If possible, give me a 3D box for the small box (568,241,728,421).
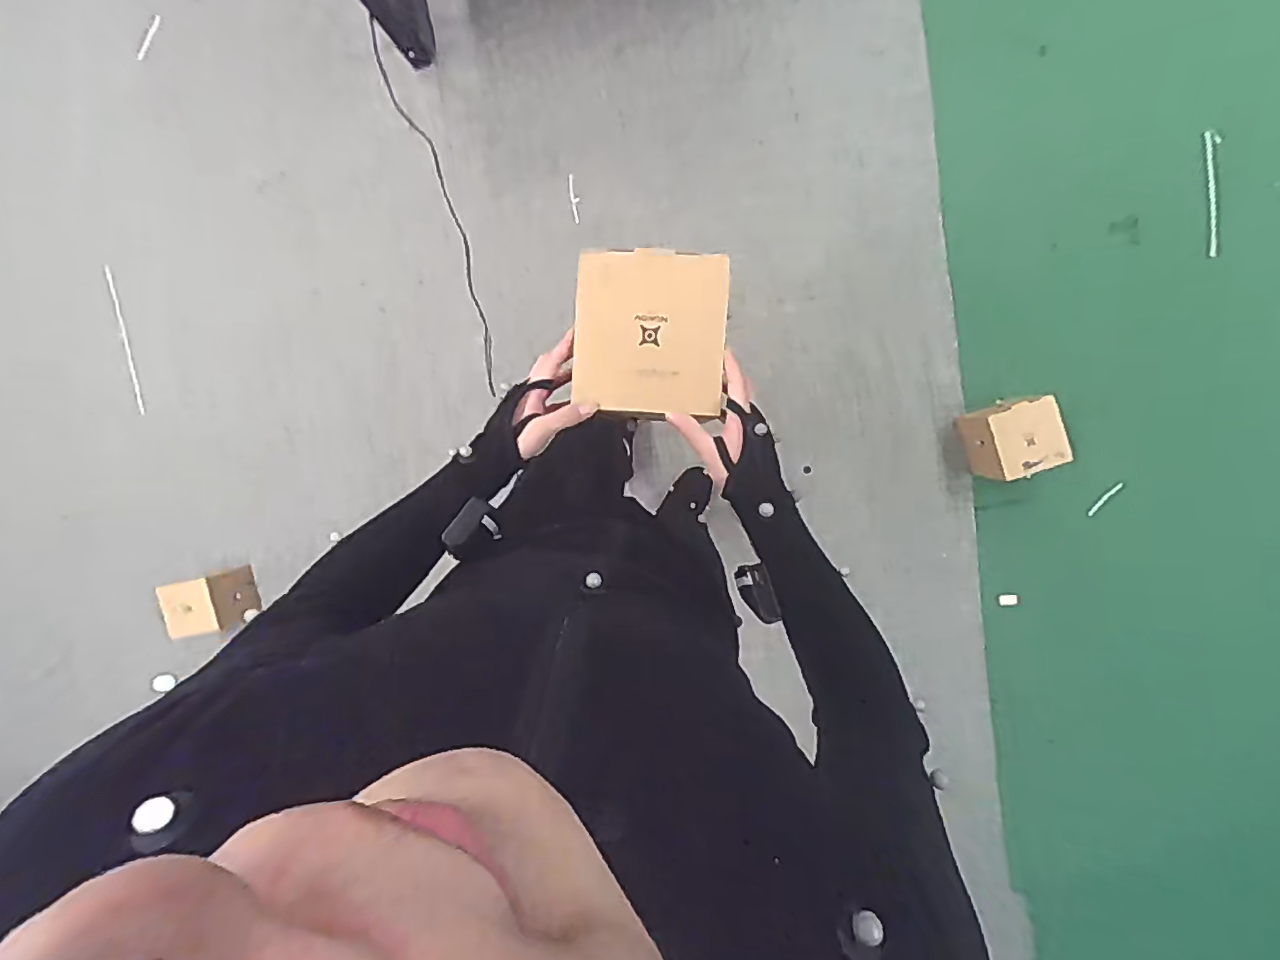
[{"bbox_3d":[0.009,-0.169,0.662,0.168,0.176,0.179,3,93,2],"label":"small box"}]

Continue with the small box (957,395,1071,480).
[{"bbox_3d":[0.972,-0.110,1.421,0.168,0.176,0.179,-19,93,7],"label":"small box"}]

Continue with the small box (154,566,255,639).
[{"bbox_3d":[-1.364,0.382,1.711,0.179,0.176,0.168,-12,94,7],"label":"small box"}]
